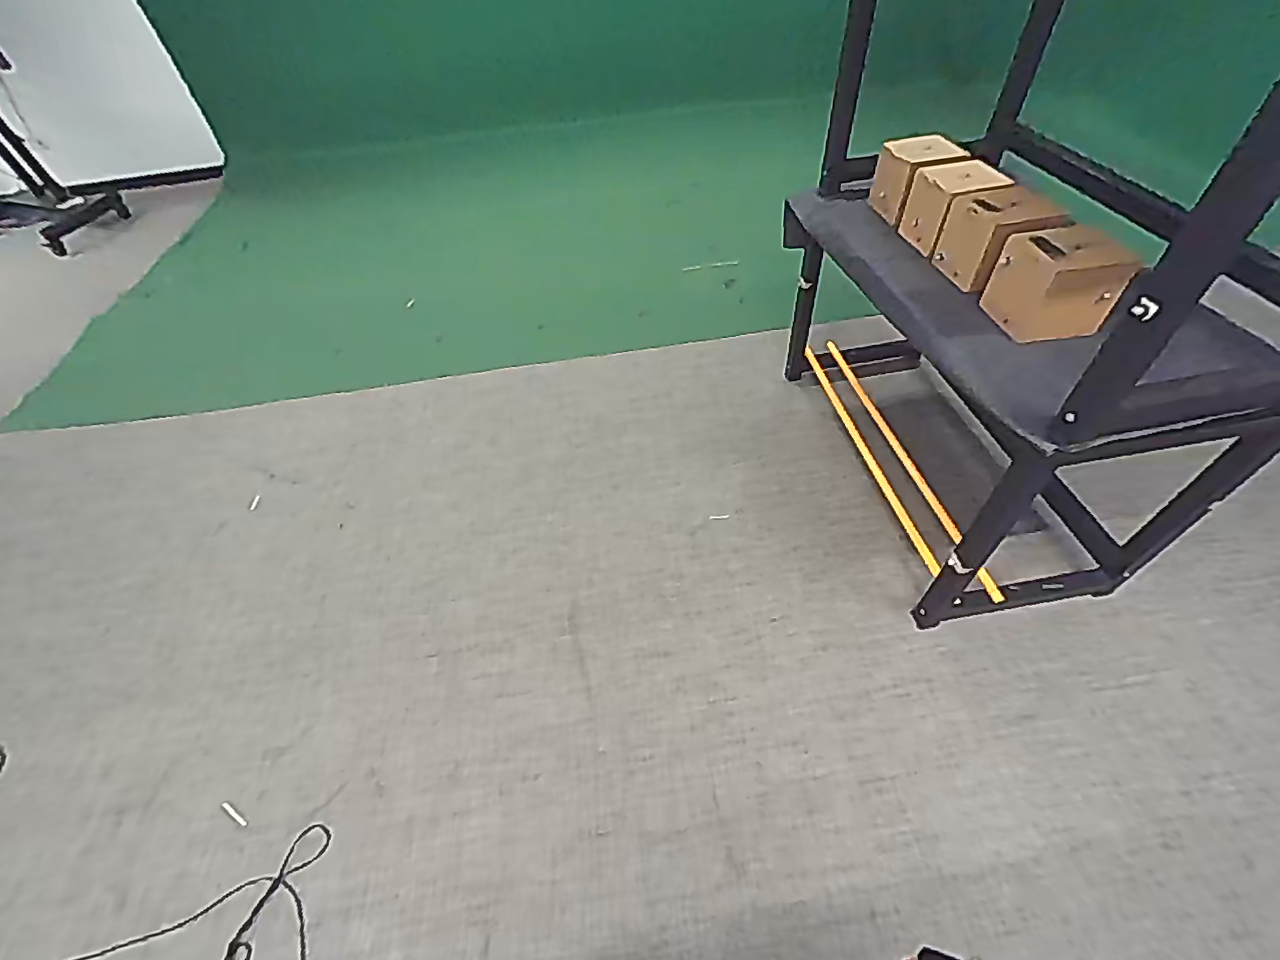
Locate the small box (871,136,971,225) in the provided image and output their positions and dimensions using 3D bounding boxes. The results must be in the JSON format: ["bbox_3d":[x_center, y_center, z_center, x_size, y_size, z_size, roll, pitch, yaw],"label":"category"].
[{"bbox_3d":[0.799,-0.862,1.559,0.179,0.176,0.168,-11,49,-4],"label":"small box"}]
